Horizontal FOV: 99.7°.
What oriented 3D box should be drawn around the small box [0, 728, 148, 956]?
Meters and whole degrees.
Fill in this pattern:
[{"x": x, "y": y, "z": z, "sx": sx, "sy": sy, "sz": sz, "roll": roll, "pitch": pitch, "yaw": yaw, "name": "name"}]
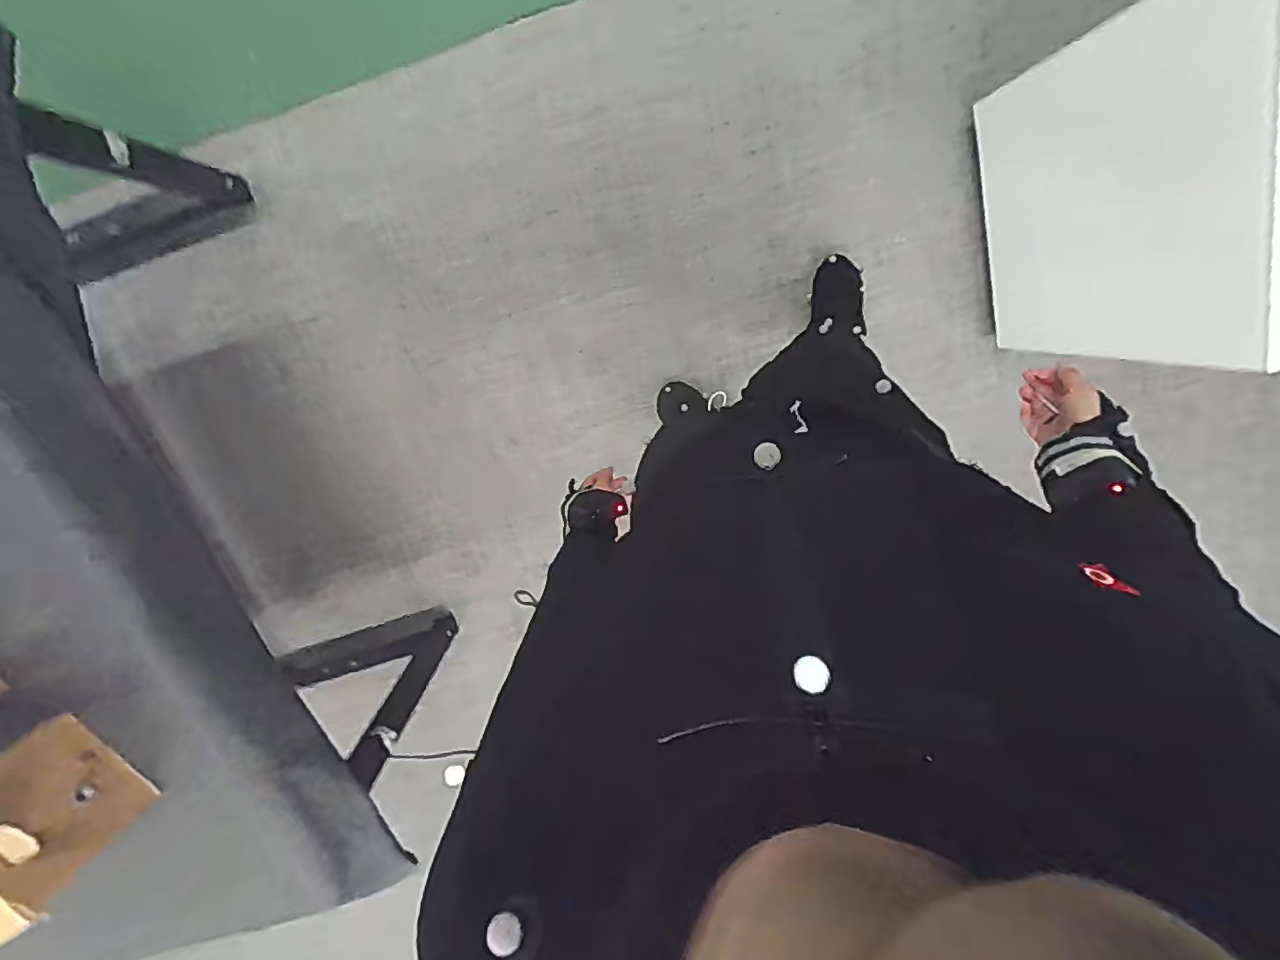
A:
[{"x": -0.757, "y": 0.439, "z": 0.635, "sx": 0.179, "sy": 0.176, "sz": 0.168, "roll": -33, "pitch": 103, "yaw": 8, "name": "small box"}]
